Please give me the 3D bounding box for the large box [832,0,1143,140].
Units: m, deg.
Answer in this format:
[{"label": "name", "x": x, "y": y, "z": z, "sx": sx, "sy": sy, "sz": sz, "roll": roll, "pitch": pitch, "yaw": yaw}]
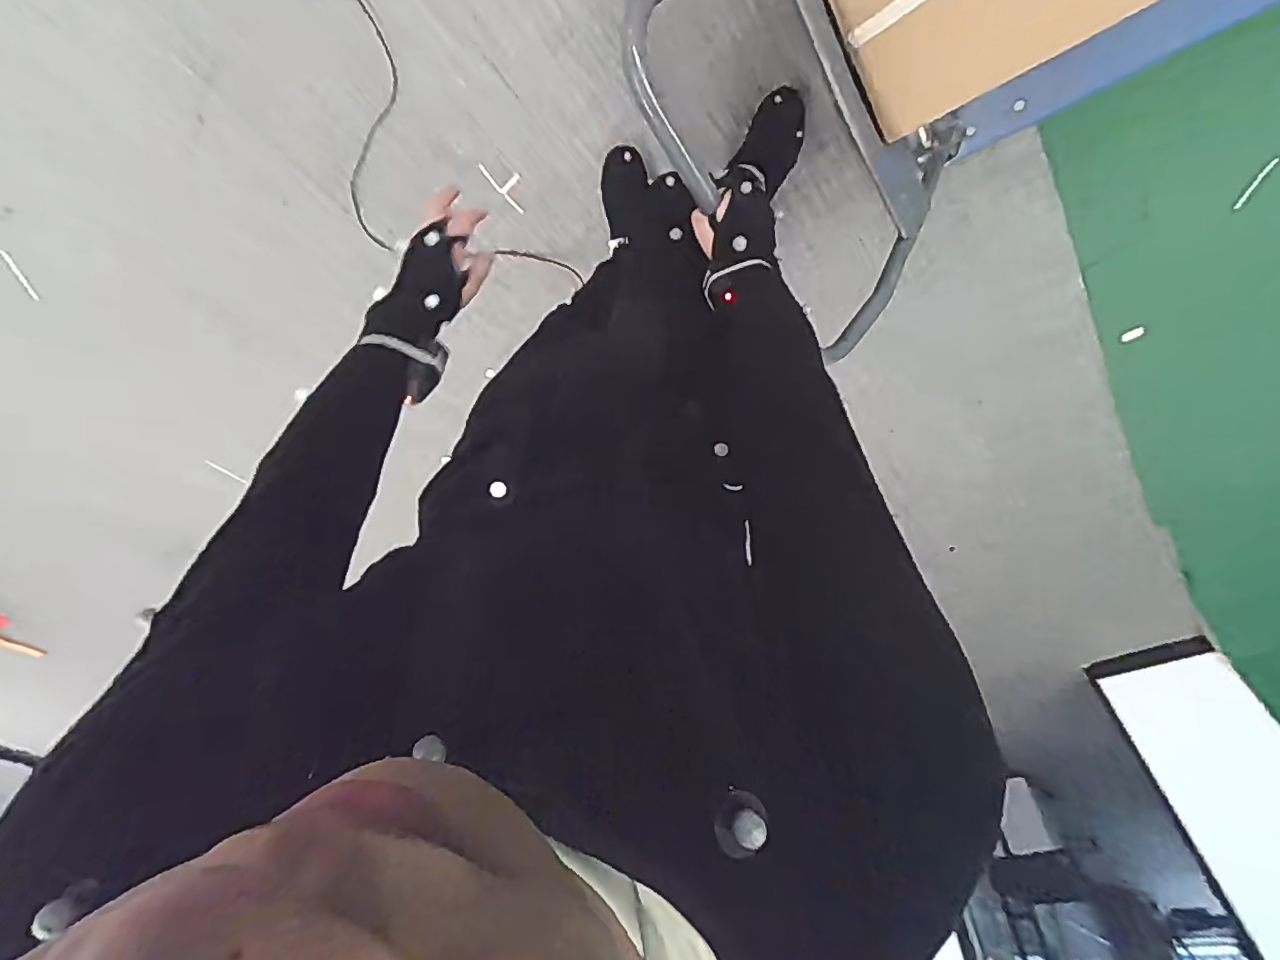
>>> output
[{"label": "large box", "x": 0.496, "y": -0.763, "z": 0.717, "sx": 0.408, "sy": 0.320, "sz": 0.320, "roll": -10, "pitch": 131, "yaw": 45}]
